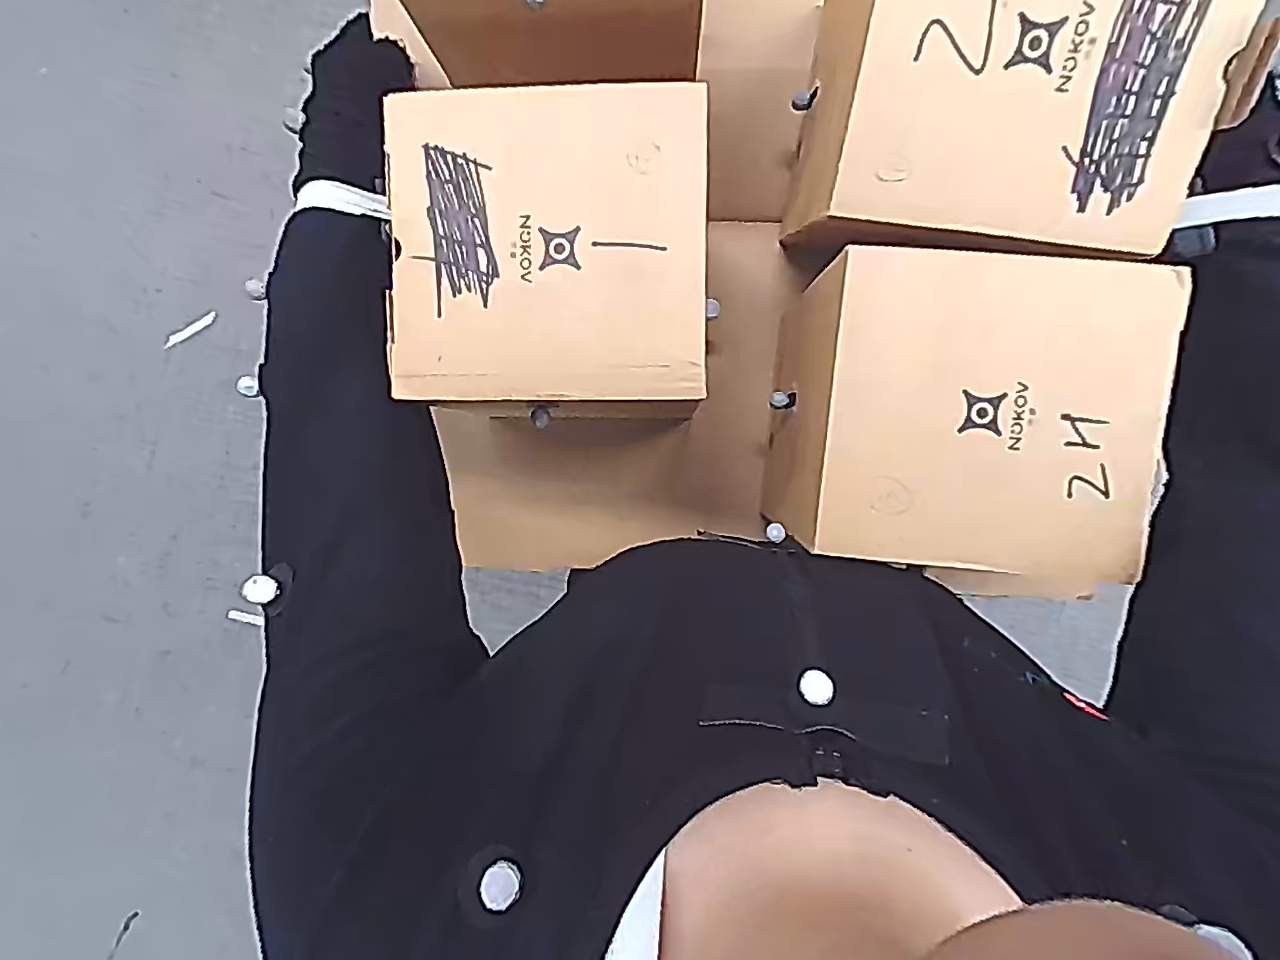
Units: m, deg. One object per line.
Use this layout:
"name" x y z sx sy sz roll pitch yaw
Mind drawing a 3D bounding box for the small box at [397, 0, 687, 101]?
"small box" -0.060 -0.365 0.322 0.179 0.176 0.168 -4 95 4
